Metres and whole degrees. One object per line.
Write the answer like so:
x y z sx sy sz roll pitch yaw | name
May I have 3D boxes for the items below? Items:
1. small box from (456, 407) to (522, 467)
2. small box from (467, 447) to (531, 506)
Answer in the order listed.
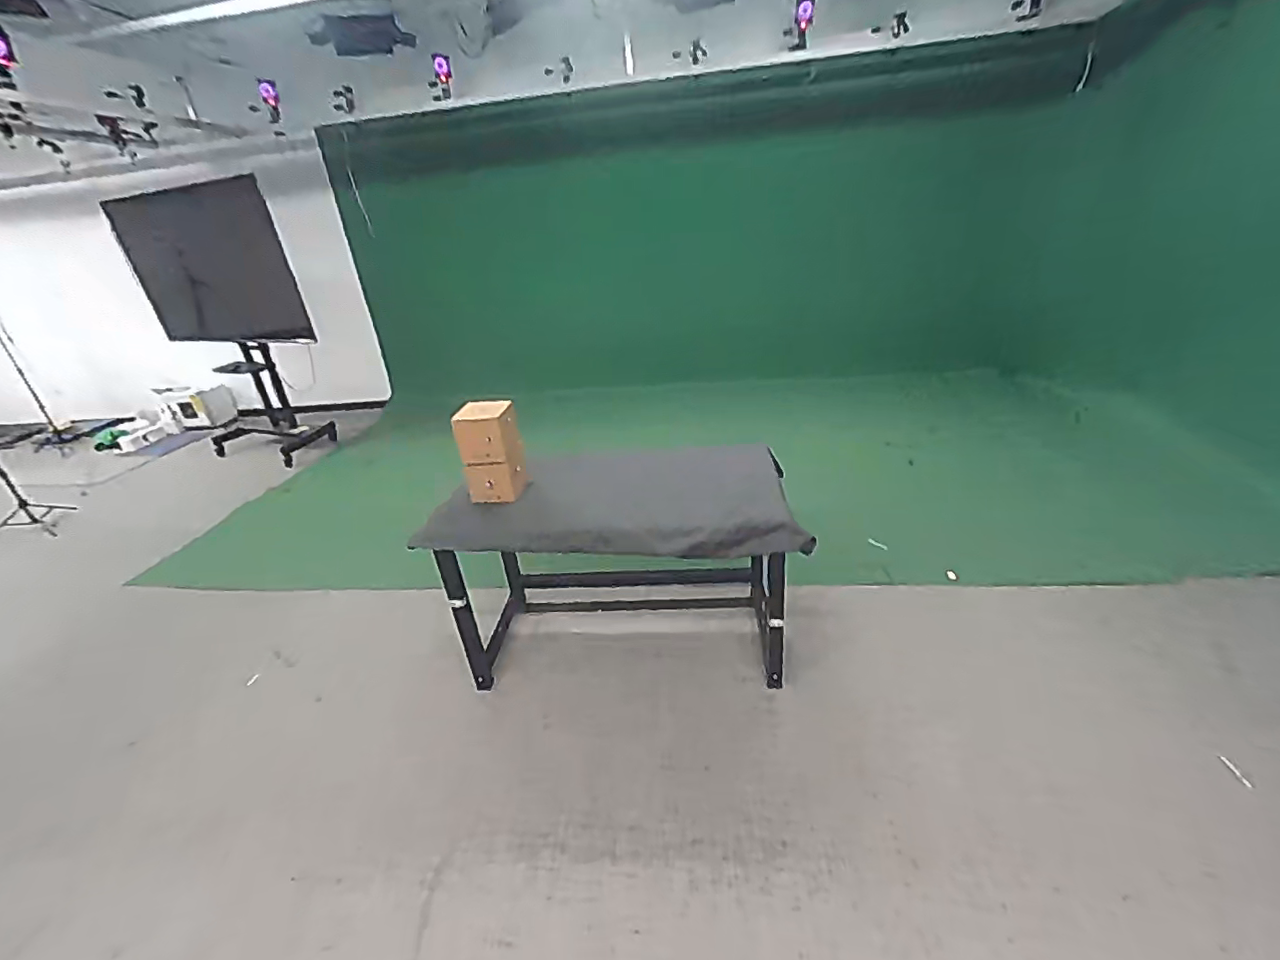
-0.532 -0.151 1.931 0.168 0.176 0.179 -2 25 6 | small box
-0.517 -0.011 2.014 0.168 0.176 0.179 -1 26 8 | small box
